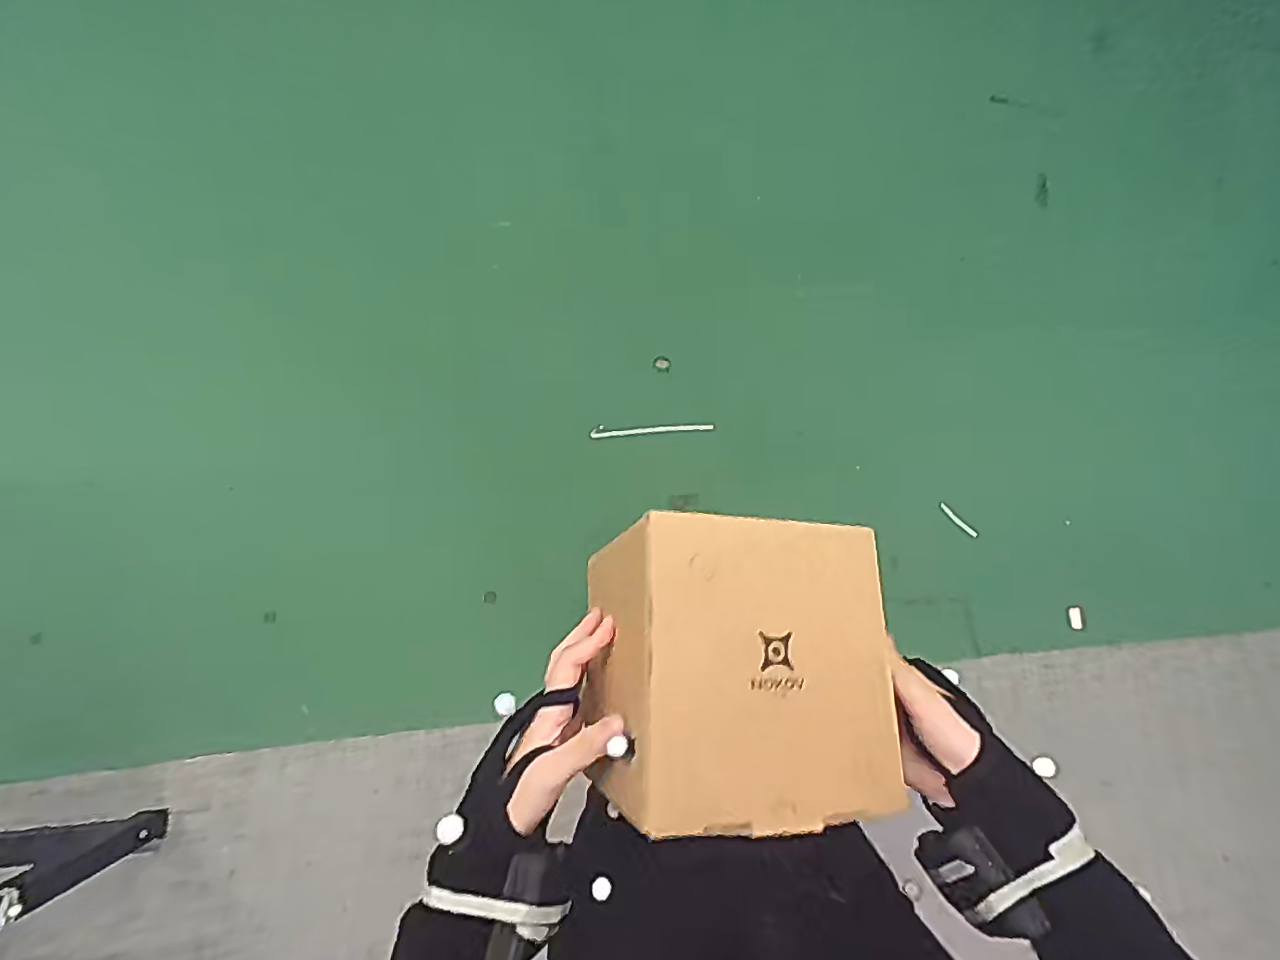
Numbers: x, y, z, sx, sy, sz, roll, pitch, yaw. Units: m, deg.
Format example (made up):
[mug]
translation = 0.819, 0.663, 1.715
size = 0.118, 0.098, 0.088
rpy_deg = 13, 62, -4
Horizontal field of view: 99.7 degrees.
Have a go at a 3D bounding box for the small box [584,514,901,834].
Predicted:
[small box]
translation = 0.056, 0.136, 0.403
size = 0.168, 0.176, 0.179
rpy_deg = 6, 71, -17
